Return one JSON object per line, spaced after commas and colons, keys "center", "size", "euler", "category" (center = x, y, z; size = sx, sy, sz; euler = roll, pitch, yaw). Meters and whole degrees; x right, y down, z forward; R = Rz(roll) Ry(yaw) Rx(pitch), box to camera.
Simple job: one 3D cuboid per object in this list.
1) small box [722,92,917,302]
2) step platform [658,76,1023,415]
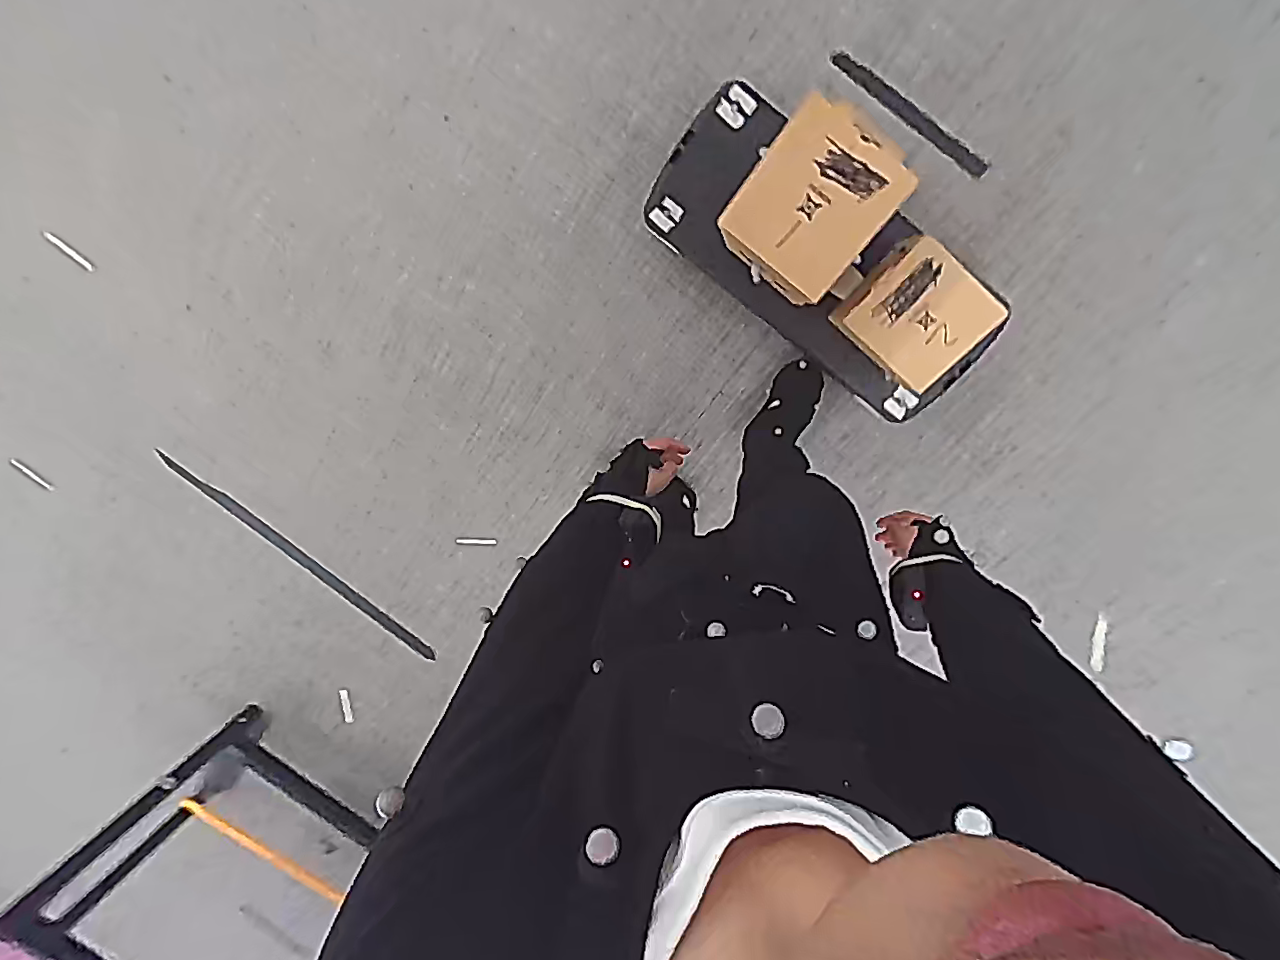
{"center": [0.229, -0.367, 0.736], "size": [0.168, 0.176, 0.179], "euler": [40, 112, -3], "category": "small box"}
{"center": [0.367, -0.430, 1.050], "size": [0.684, 0.204, 0.286], "euler": [38, 111, -2], "category": "step platform"}
